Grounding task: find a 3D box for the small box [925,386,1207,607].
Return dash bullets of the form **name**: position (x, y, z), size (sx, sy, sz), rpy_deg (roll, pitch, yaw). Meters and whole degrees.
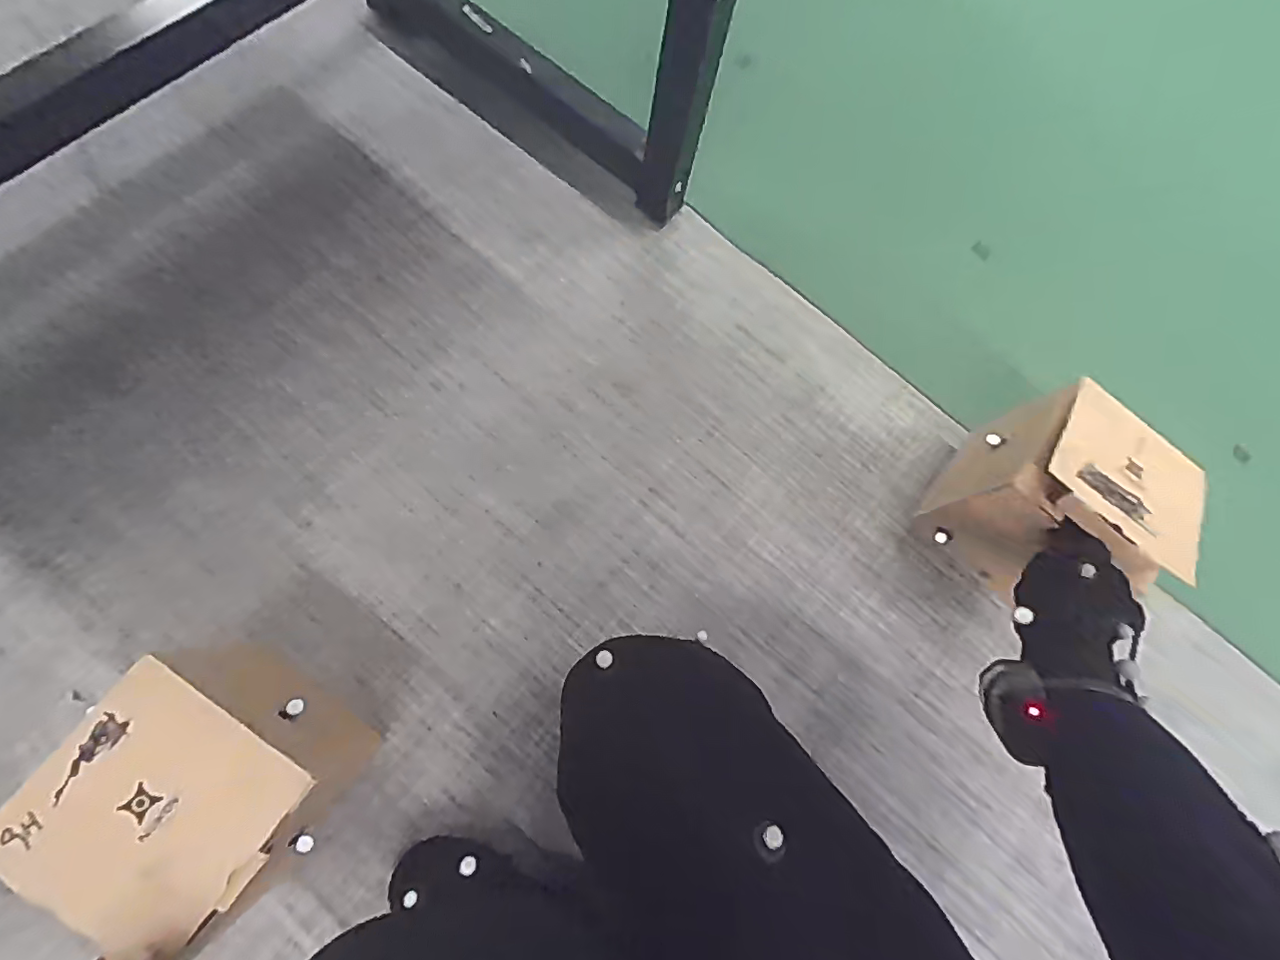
- **small box**: position (0.474, 0.031, 0.631), size (0.168, 0.176, 0.179), rpy_deg (45, 71, 5)
